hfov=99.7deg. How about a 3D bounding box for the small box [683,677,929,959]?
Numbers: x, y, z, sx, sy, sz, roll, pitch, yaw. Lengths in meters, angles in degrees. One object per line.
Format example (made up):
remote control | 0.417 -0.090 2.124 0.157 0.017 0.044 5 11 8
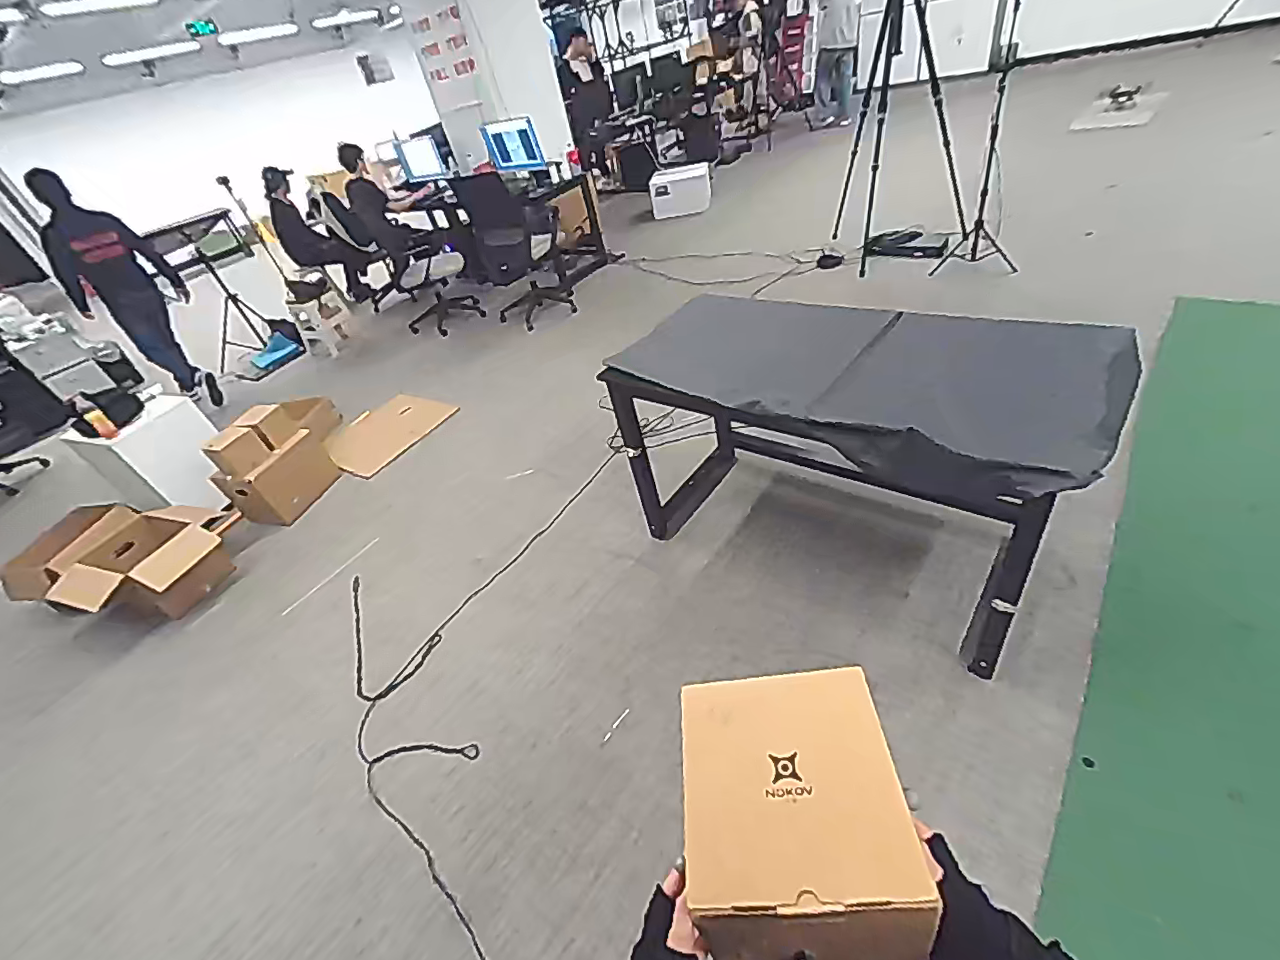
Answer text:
small box | 0.133 0.306 0.482 0.168 0.176 0.179 -10 36 10
